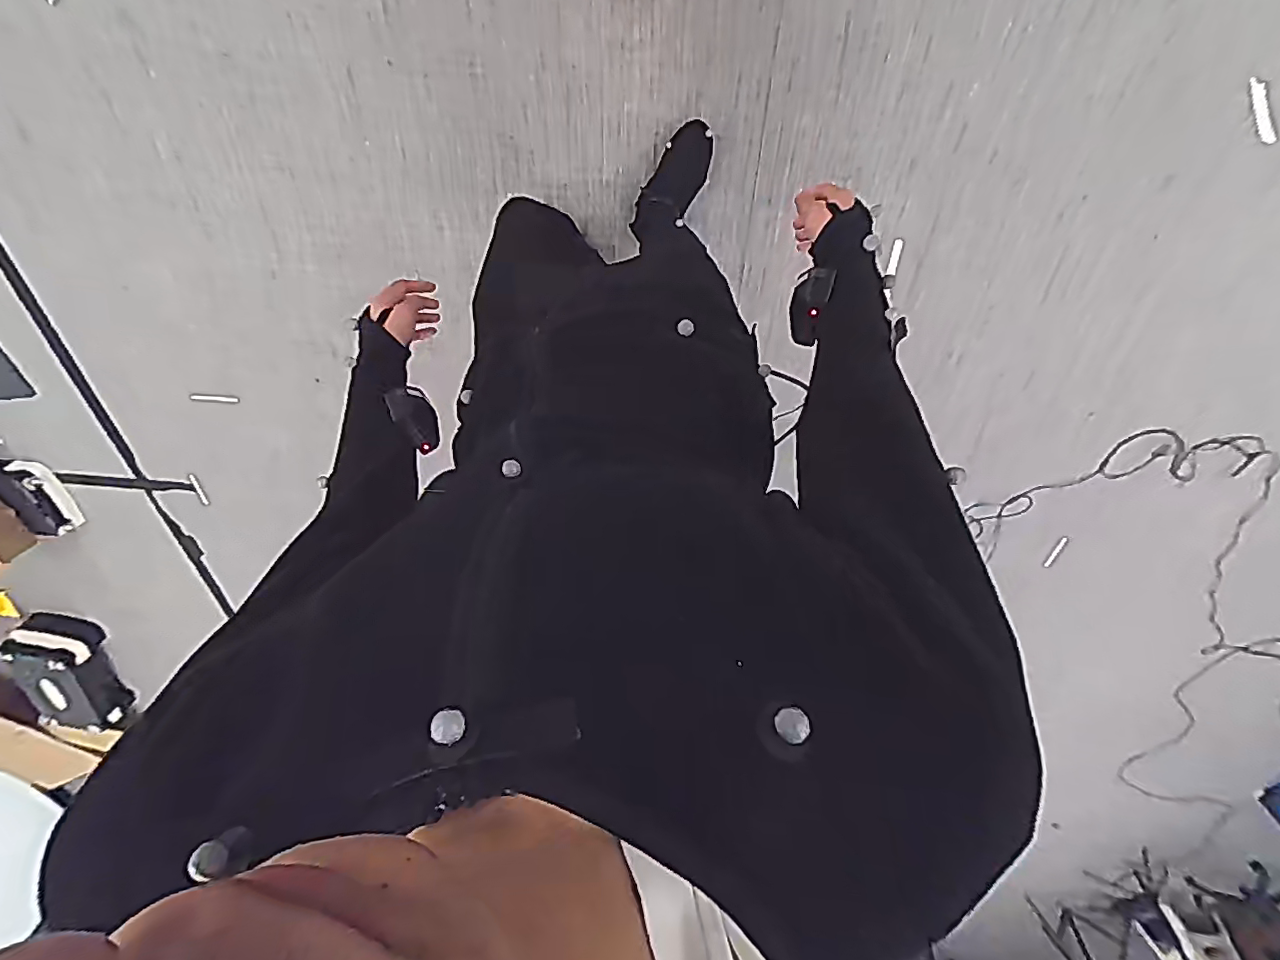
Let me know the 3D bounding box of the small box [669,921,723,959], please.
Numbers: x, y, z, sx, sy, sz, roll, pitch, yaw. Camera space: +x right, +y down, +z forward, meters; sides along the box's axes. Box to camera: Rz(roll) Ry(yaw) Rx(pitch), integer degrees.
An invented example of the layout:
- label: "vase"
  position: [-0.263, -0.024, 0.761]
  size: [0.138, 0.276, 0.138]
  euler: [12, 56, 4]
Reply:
- label: "small box"
  position: [0.191, 1.628, 1.839]
  size: [0.179, 0.176, 0.168]
  euler: [2, 128, 3]

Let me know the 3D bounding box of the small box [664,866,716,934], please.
- label: "small box"
  position: [0.181, 1.537, 1.975]
  size: [0.179, 0.176, 0.168]
  euler: [2, 128, 3]
